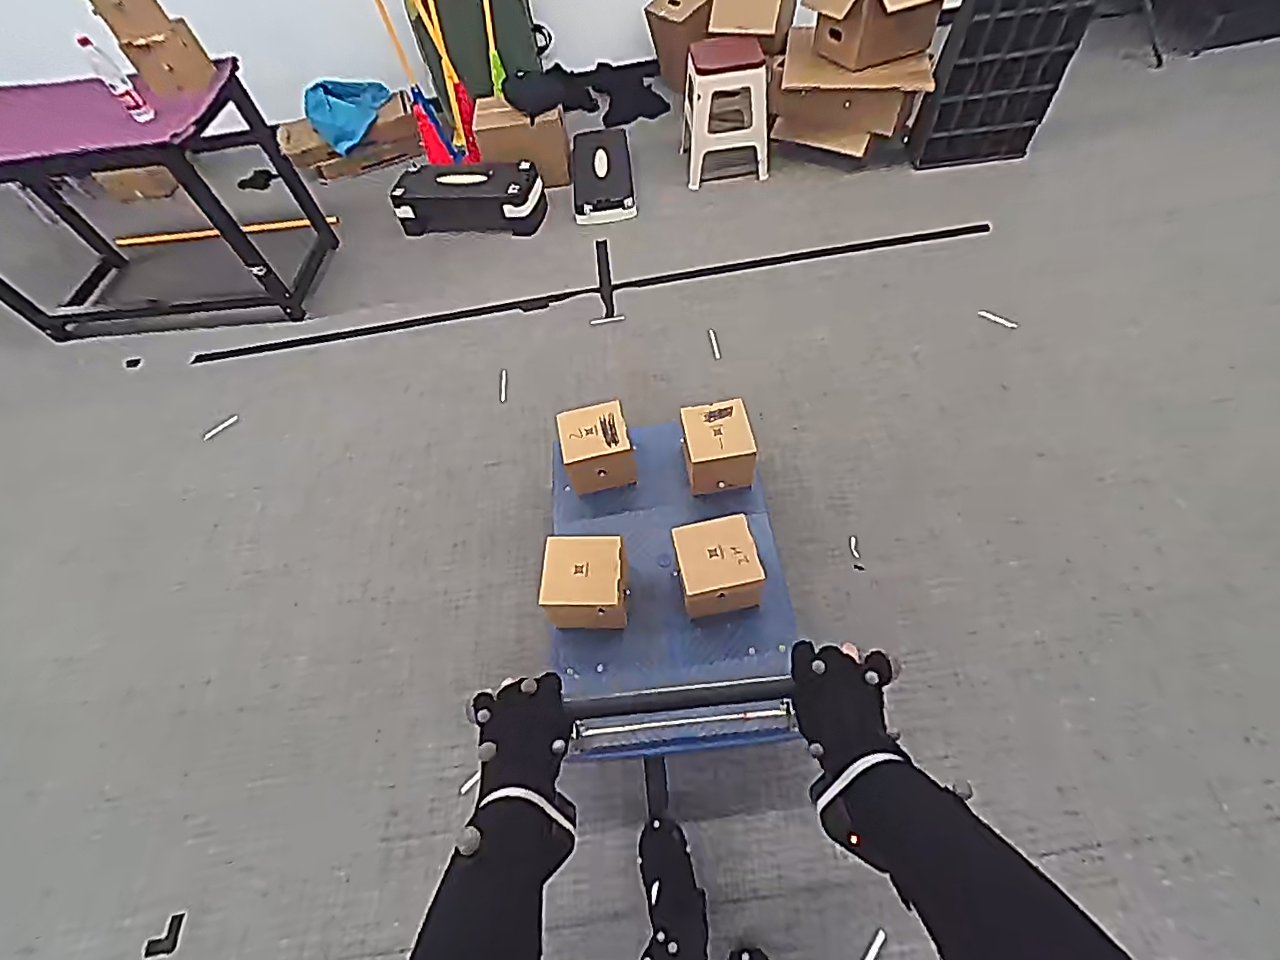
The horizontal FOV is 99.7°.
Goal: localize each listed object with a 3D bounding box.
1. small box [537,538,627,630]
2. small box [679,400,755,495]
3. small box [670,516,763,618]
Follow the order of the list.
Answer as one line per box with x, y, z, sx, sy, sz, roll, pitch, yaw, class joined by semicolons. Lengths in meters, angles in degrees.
-0.127;0.247;1.264;0.179;0.176;0.168;-1;58;4;small box
0.198;-0.083;1.429;0.168;0.176;0.179;-10;59;1;small box
0.174;0.207;1.253;0.179;0.176;0.168;-12;58;-1;small box
